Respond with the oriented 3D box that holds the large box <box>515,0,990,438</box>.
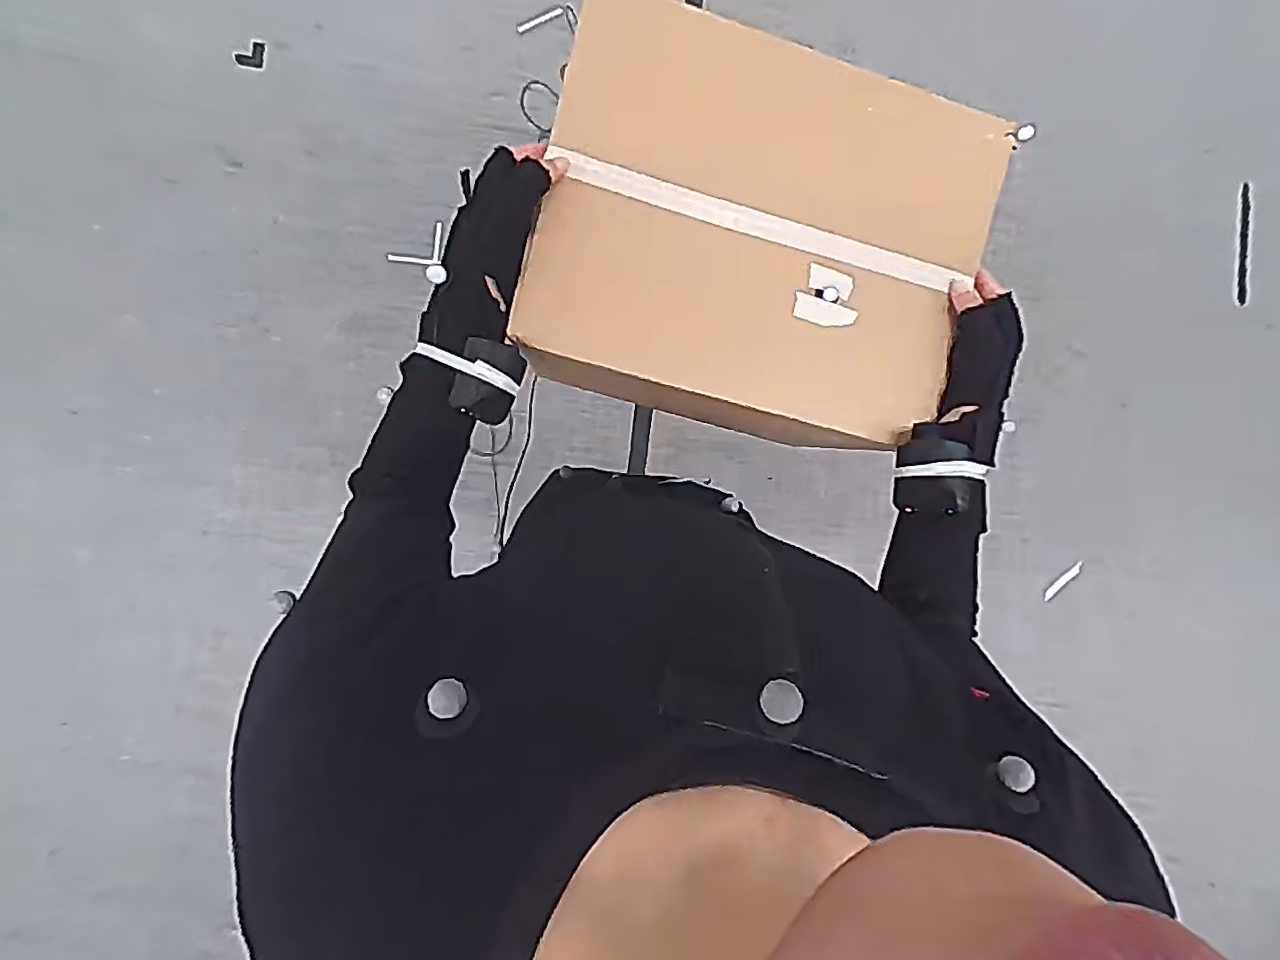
[{"bbox_3d":[0.091,-0.242,0.644,0.408,0.320,0.320,13,94,-8],"label":"large box"}]
